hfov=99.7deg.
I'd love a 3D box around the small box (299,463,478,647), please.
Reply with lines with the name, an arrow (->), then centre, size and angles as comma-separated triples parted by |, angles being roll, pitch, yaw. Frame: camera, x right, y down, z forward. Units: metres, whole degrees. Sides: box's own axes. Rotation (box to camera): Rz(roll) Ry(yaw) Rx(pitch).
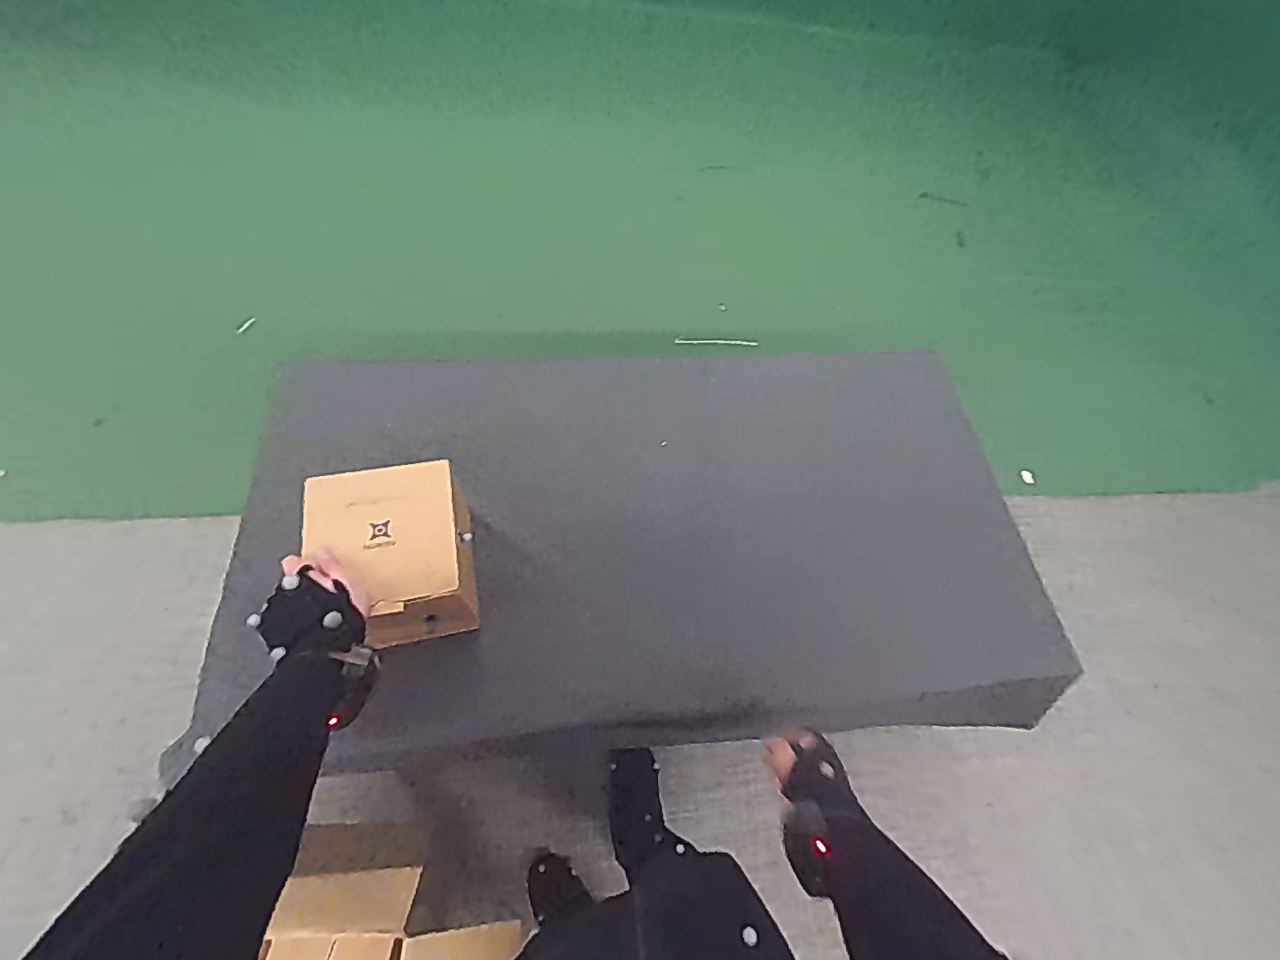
small box -> -0.310, 0.104, 0.694 | 0.168, 0.176, 0.179 | -9, 62, -13
